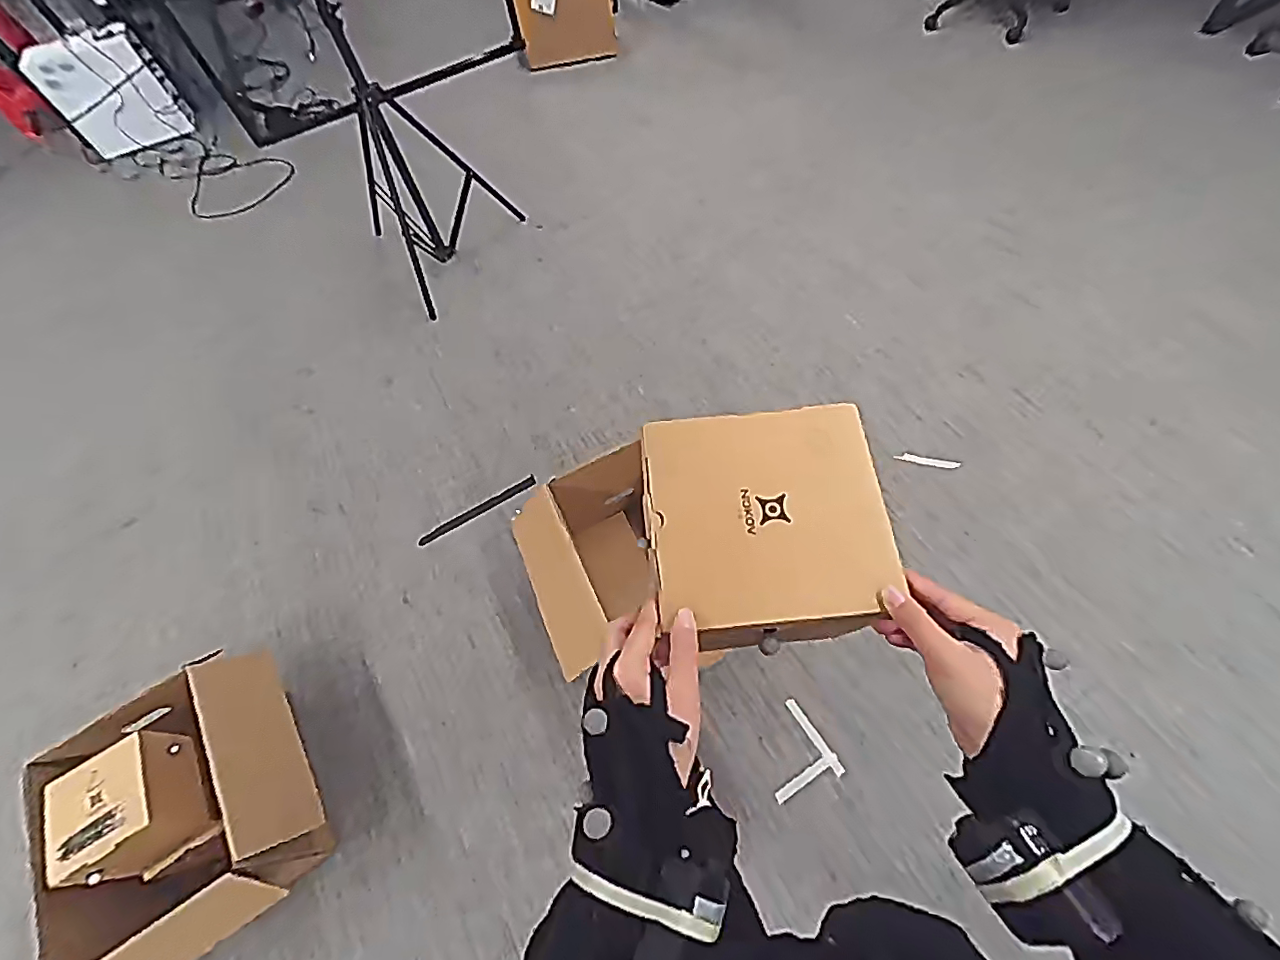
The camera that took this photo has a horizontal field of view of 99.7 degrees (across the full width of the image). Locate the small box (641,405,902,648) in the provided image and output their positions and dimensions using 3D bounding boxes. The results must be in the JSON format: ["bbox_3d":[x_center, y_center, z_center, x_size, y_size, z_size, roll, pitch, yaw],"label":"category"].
[{"bbox_3d":[0.095,0.051,0.482,0.179,0.176,0.168,-6,67,0],"label":"small box"}]
